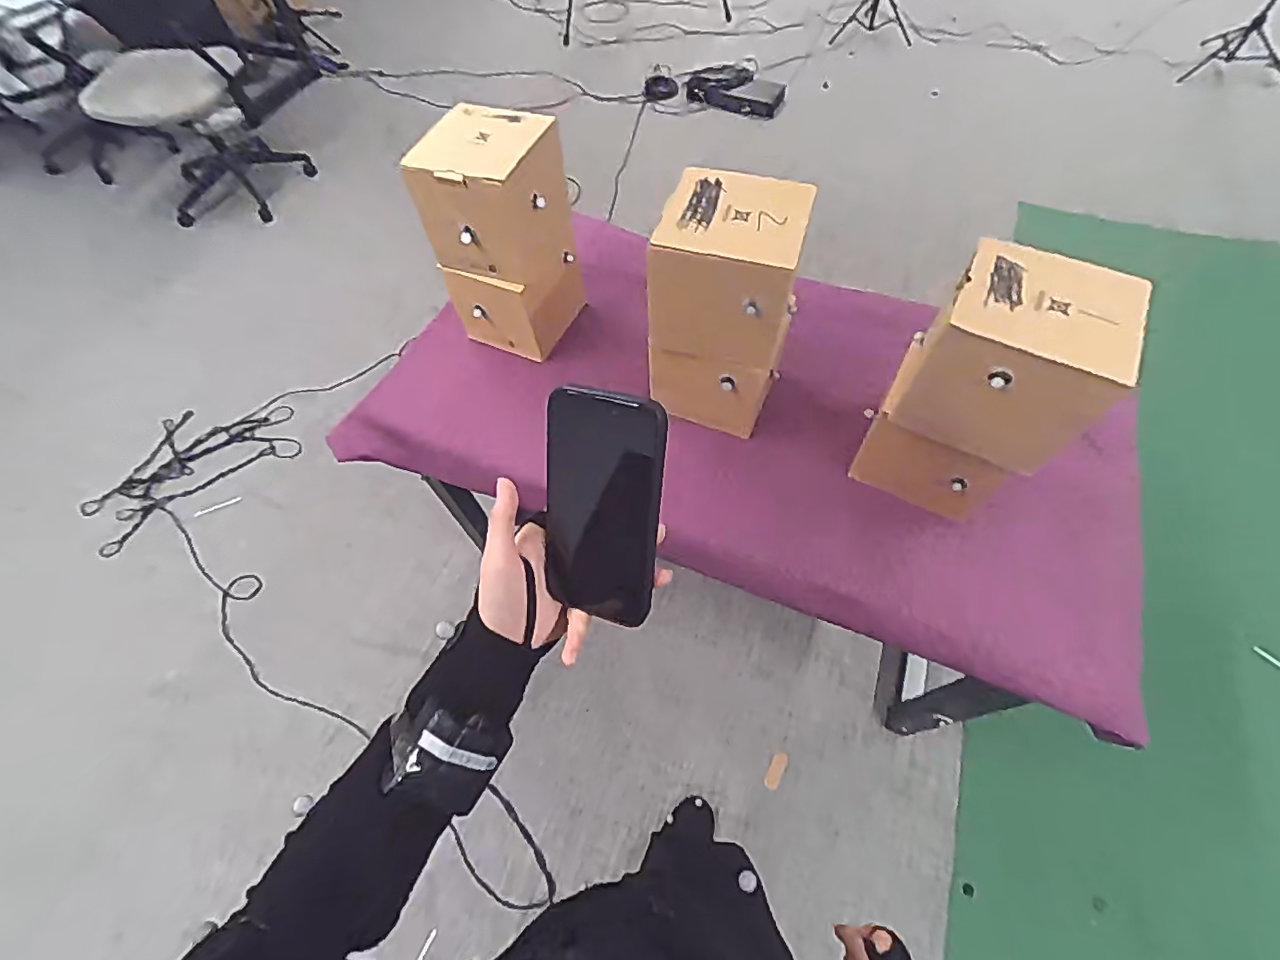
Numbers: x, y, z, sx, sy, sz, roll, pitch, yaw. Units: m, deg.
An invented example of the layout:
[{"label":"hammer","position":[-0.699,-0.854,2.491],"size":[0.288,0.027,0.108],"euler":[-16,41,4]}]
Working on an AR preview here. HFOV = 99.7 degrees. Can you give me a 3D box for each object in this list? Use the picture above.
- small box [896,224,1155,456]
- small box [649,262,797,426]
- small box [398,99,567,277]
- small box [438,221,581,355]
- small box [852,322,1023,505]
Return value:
[{"label":"small box","position":[0.426,-0.154,0.623],"size":[0.179,0.176,0.168],"euler":[25,64,17]},{"label":"small box","position":[0.128,-0.210,0.862],"size":[0.179,0.176,0.168],"euler":[20,63,15]},{"label":"small box","position":[-0.225,-0.443,0.832],"size":[0.168,0.176,0.179],"euler":[16,63,12]},{"label":"small box","position":[-0.219,-0.354,0.969],"size":[0.168,0.176,0.179],"euler":[20,63,15]},{"label":"small box","position":[0.433,-0.086,0.772],"size":[0.179,0.176,0.168],"euler":[25,64,18]}]
